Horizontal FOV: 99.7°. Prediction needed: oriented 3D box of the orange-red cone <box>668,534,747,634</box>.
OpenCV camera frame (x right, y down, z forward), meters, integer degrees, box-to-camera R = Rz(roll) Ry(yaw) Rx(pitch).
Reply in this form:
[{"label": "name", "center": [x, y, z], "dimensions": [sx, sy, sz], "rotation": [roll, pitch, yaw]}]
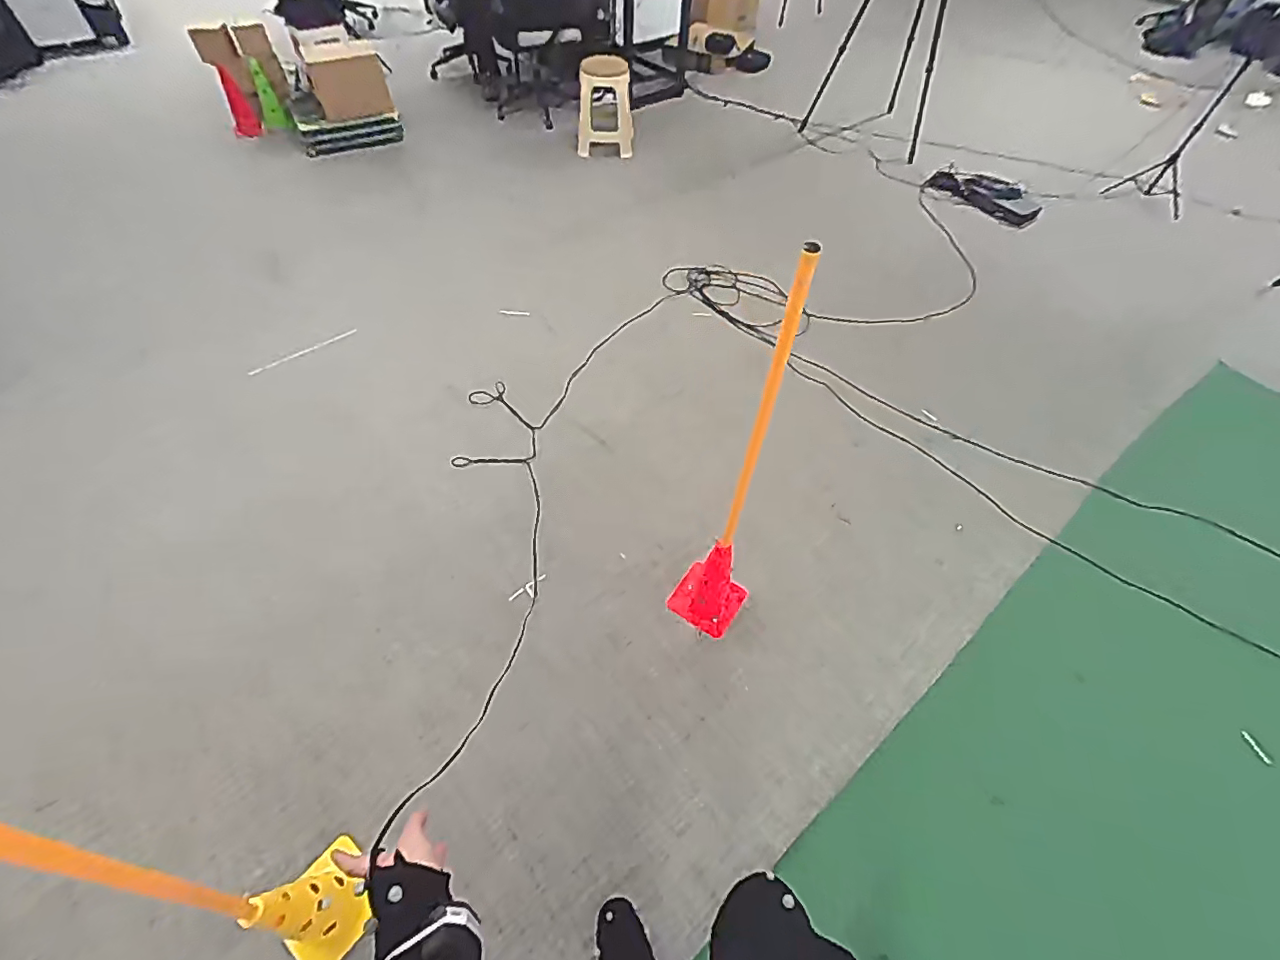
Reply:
[{"label": "orange-red cone", "center": [0.221, 0.261, 1.565], "dimensions": [0.198, 0.360, 0.199], "rotation": [31, 57, 18]}]
